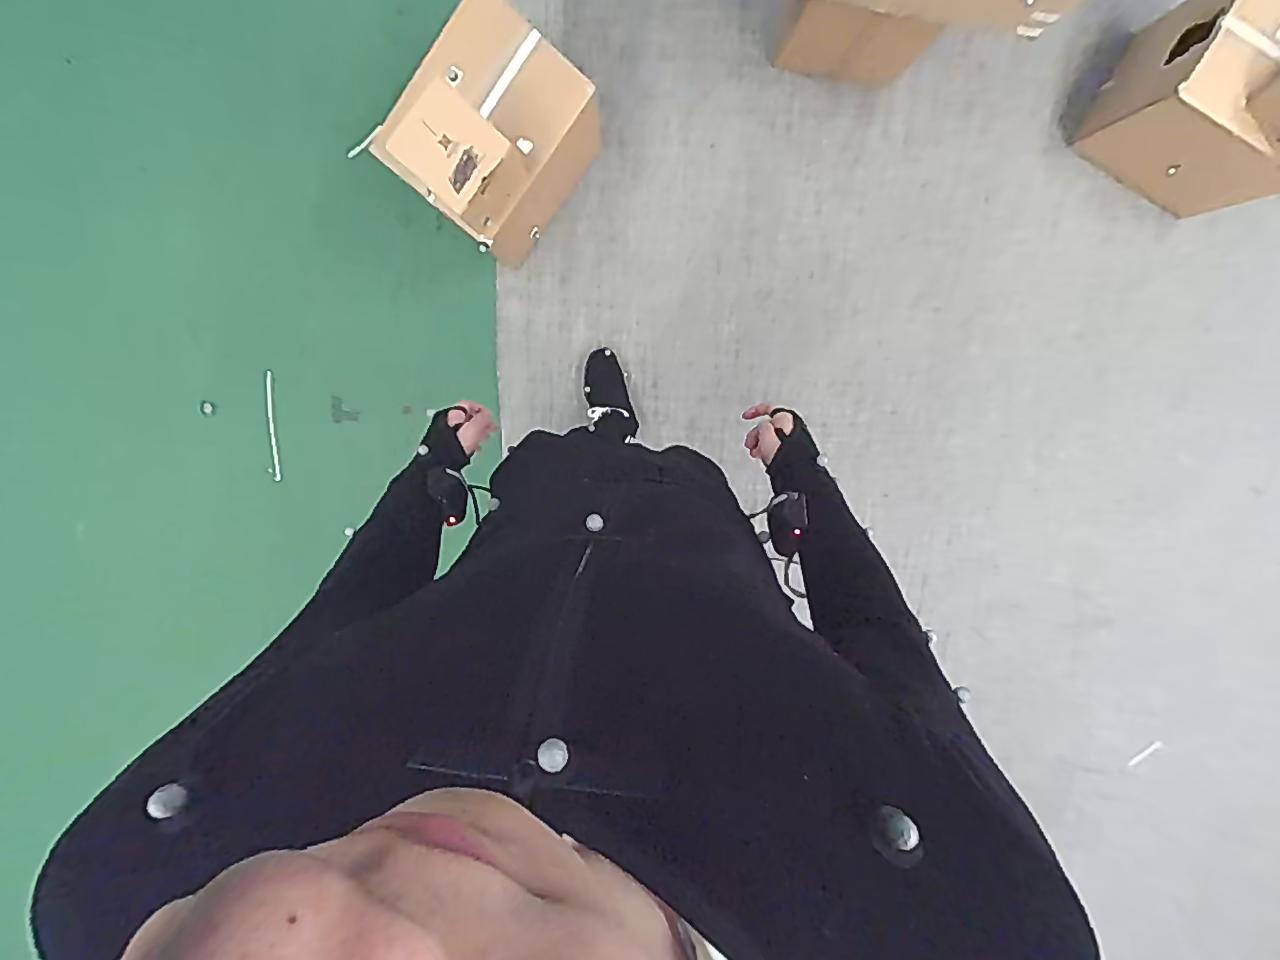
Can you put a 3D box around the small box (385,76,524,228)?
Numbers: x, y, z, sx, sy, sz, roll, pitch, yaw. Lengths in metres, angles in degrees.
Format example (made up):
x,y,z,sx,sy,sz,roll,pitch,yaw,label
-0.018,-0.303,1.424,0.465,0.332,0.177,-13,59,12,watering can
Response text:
x,y,z,sx,sy,sz,roll,pitch,yaw,label
-0.353,-0.627,1.066,0.179,0.176,0.168,41,97,-9,small box

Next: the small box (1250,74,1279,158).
x,y,z,sx,sy,sz,roll,pitch,yaw,label
1.429,-0.799,1.092,0.179,0.176,0.168,-43,100,8,small box

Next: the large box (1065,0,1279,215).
x,y,z,sx,sy,sz,roll,pitch,yaw,label
1.395,-0.917,1.317,0.408,0.320,0.320,25,100,-6,large box
